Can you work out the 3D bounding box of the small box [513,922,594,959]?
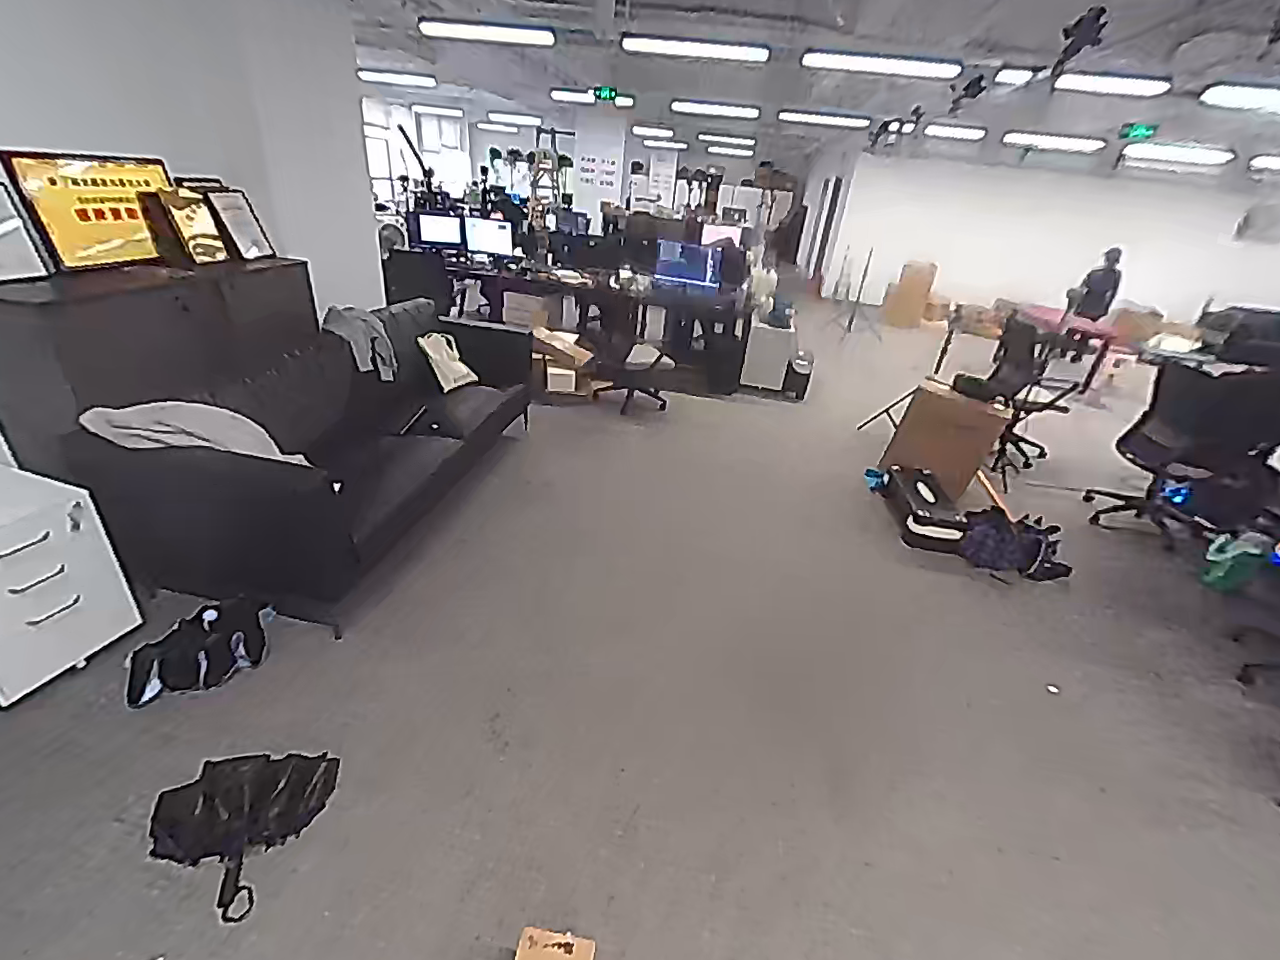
[{"bbox_3d":[-0.196,1.101,1.158,0.168,0.176,0.179,8,30,4],"label":"small box"}]
